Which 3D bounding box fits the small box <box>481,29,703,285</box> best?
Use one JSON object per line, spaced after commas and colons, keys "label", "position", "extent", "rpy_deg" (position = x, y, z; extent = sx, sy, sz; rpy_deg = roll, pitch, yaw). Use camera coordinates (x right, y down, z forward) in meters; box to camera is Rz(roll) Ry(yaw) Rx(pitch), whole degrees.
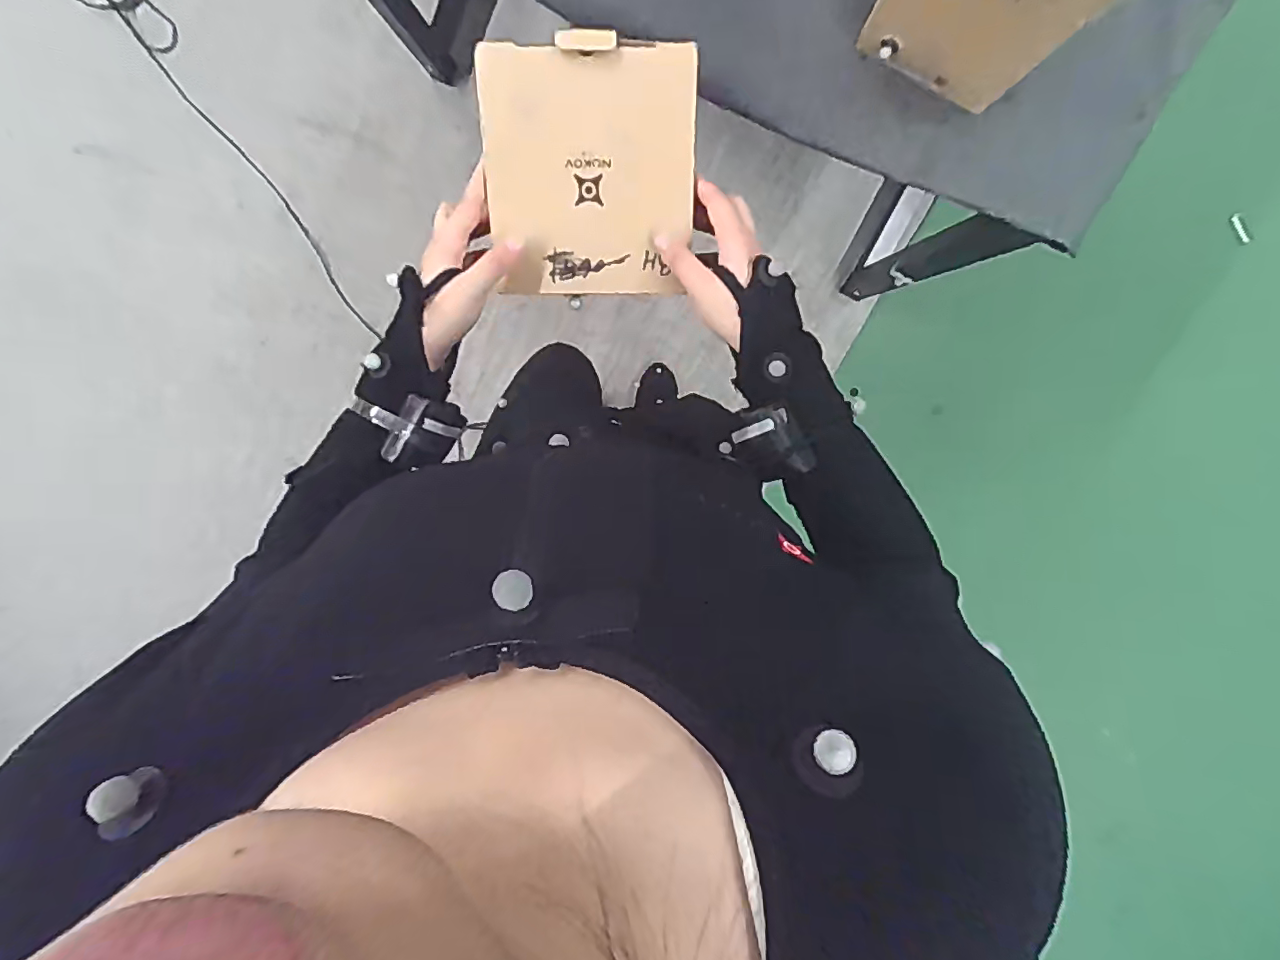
{"label": "small box", "position": [-0.036, -0.275, 0.498], "extent": [0.168, 0.176, 0.179], "rpy_deg": [0, 113, 1]}

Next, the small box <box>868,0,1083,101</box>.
{"label": "small box", "position": [0.350, -0.521, 0.522], "extent": [0.168, 0.176, 0.179], "rpy_deg": [26, 99, -3]}
